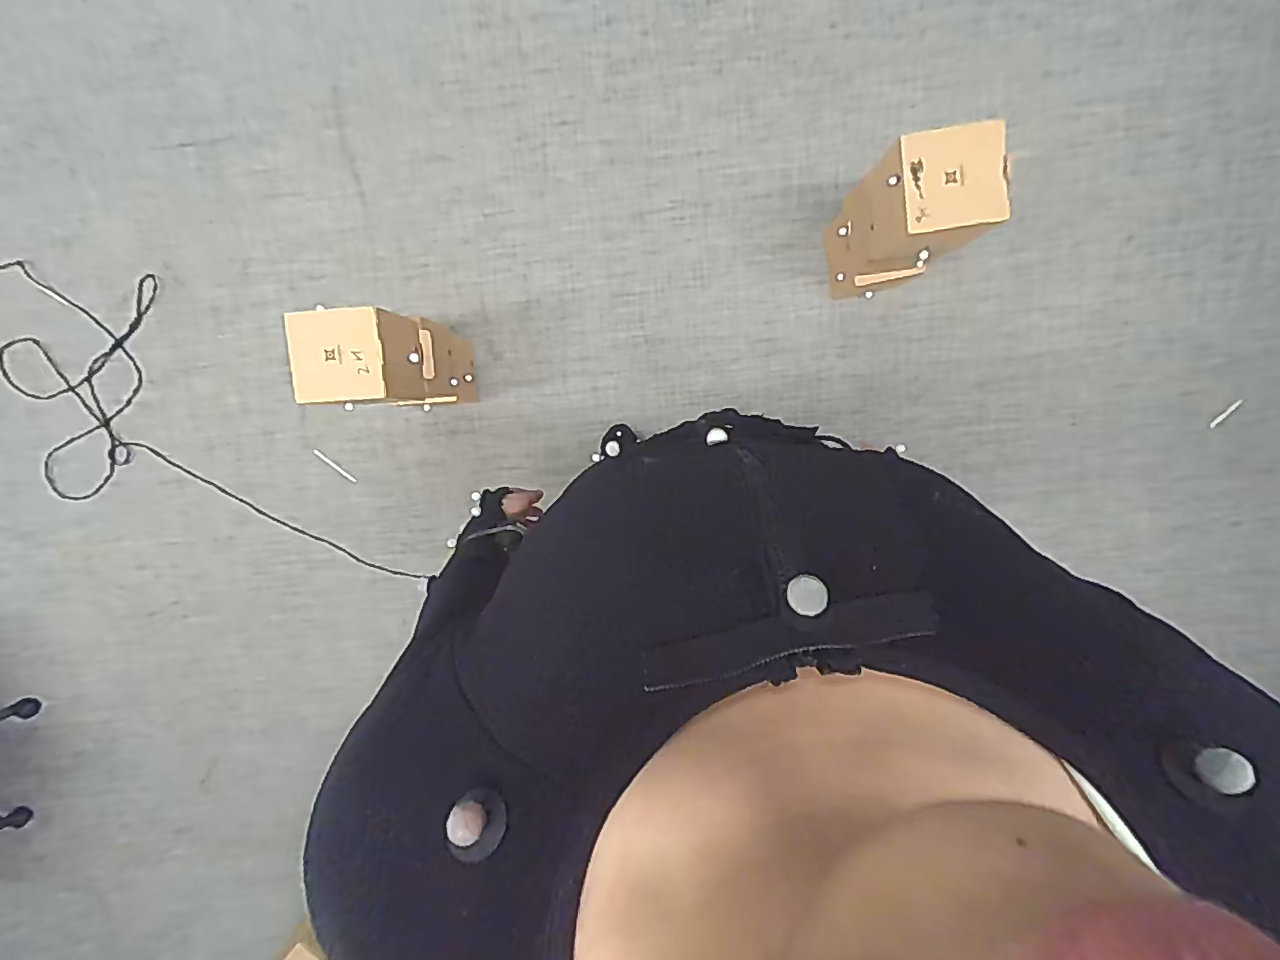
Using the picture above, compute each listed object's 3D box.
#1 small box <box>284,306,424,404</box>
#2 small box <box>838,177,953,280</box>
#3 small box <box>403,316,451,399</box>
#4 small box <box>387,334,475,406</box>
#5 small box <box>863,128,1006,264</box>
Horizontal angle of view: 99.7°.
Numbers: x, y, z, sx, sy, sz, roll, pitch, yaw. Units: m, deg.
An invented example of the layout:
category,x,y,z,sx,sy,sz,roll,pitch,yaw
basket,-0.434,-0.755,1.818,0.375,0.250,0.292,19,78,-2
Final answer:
category,x,y,z,sx,sy,sz,roll,pitch,yaw
small box,-0.550,-0.236,1.058,0.179,0.176,0.168,-3,97,3
small box,0.548,-0.545,1.168,0.179,0.176,0.168,-7,96,3
small box,-0.540,-0.269,1.220,0.179,0.176,0.168,-3,96,3
small box,-0.533,-0.277,1.384,0.179,0.176,0.168,-4,96,3
small box,0.539,-0.517,1.006,0.179,0.176,0.168,-7,96,2
